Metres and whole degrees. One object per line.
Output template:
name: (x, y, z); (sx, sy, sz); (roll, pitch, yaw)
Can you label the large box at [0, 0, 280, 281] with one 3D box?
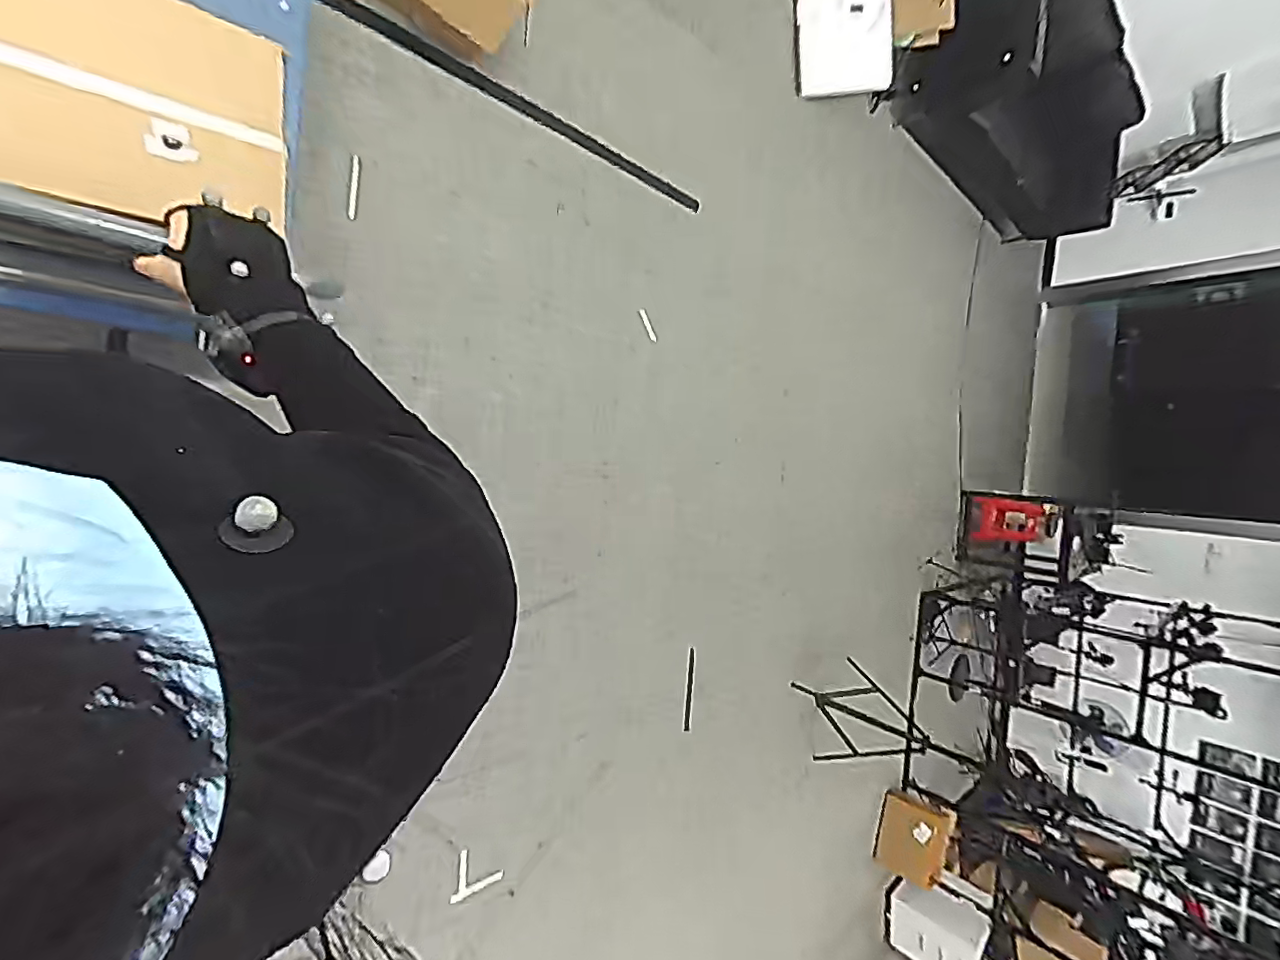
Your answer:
large box: (-0.826, -0.534, 0.835); (0.408, 0.320, 0.320); (-1, 95, -43)
